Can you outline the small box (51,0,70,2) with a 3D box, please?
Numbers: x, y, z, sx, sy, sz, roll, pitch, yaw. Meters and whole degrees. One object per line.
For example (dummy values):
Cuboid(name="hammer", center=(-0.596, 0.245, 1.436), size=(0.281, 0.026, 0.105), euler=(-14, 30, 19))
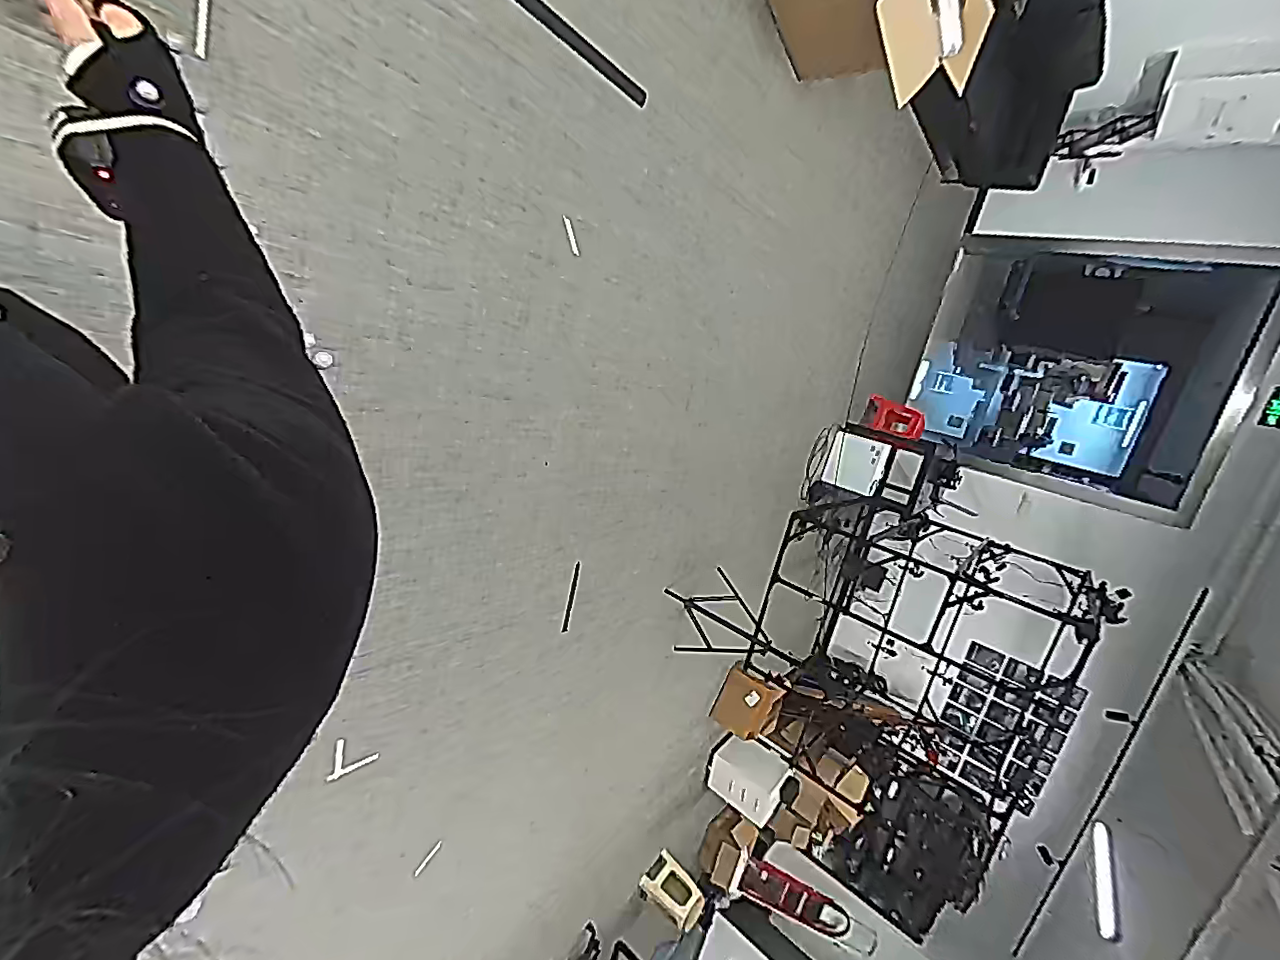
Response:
Cuboid(name="small box", center=(-0.930, -0.843, 0.780), size=(0.179, 0.176, 0.168), euler=(0, 109, -55))
